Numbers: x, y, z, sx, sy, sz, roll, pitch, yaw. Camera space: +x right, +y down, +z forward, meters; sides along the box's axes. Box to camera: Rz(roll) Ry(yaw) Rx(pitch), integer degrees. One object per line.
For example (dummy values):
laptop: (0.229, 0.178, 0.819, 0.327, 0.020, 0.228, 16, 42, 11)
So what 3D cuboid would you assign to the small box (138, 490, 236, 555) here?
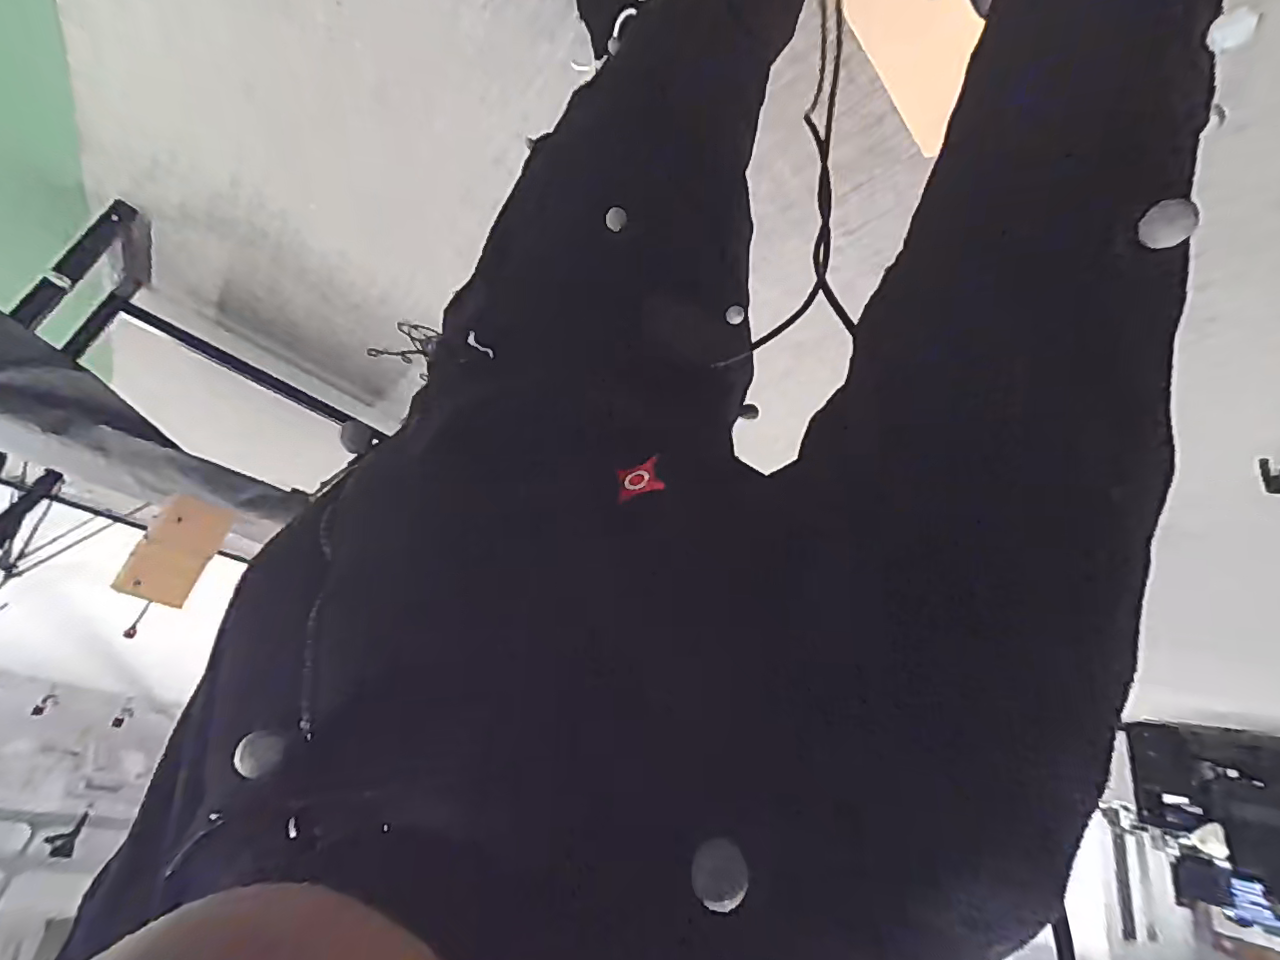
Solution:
small box: (-1.482, 0.138, 1.771, 0.168, 0.176, 0.179, -5, 150, 41)

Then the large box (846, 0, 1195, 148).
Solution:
large box: (0.376, -0.676, 0.553, 0.408, 0.320, 0.320, 31, 152, -33)

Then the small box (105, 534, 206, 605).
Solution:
small box: (-1.525, 0.282, 1.709, 0.168, 0.176, 0.179, -5, 148, 41)
